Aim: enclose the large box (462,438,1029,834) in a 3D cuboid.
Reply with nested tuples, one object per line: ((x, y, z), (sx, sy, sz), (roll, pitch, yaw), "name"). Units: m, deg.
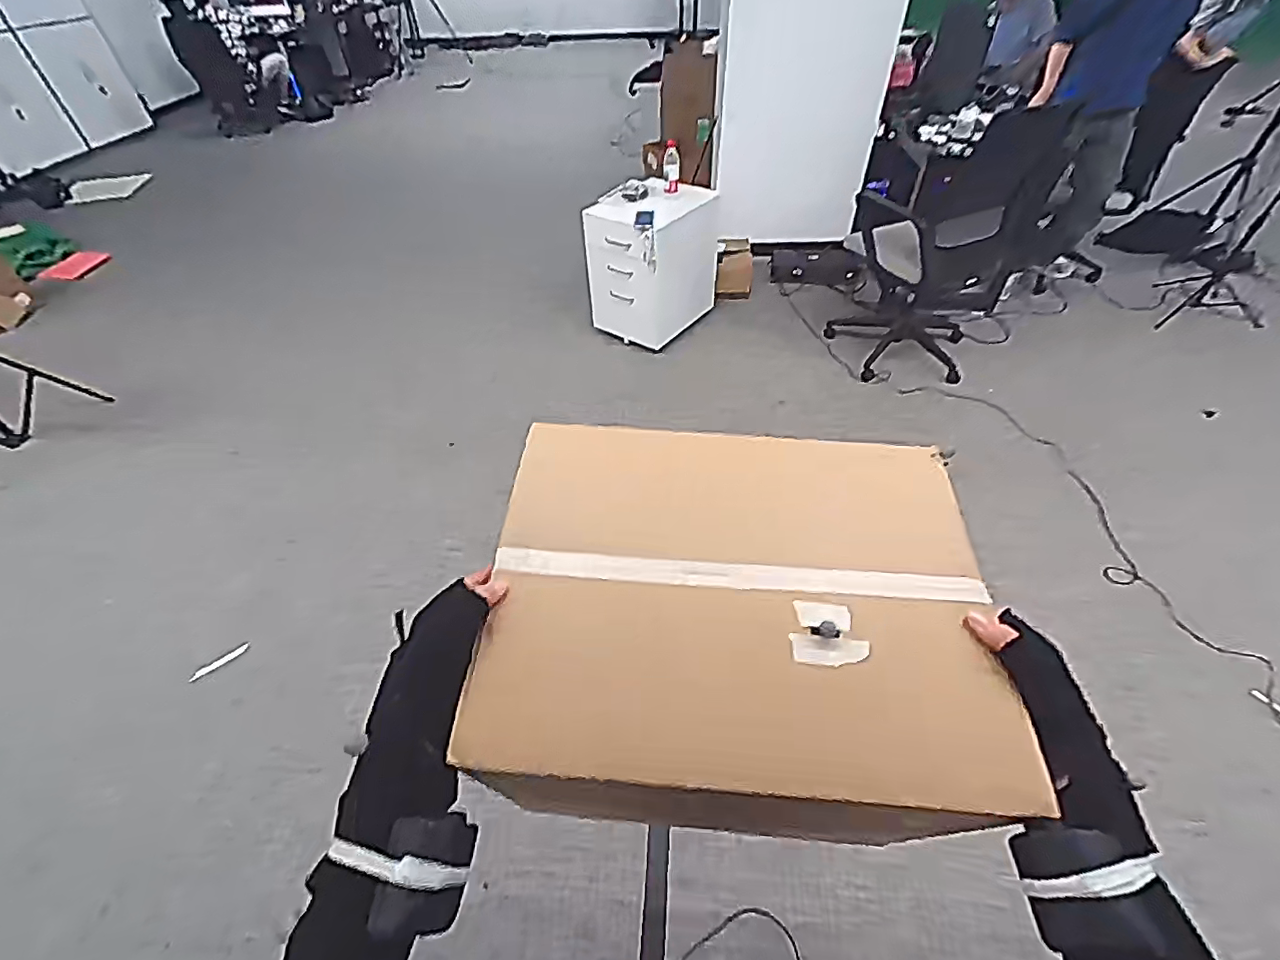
((0.076, 0.177, 0.580), (0.408, 0.320, 0.320), (4, 55, 2), "large box")
